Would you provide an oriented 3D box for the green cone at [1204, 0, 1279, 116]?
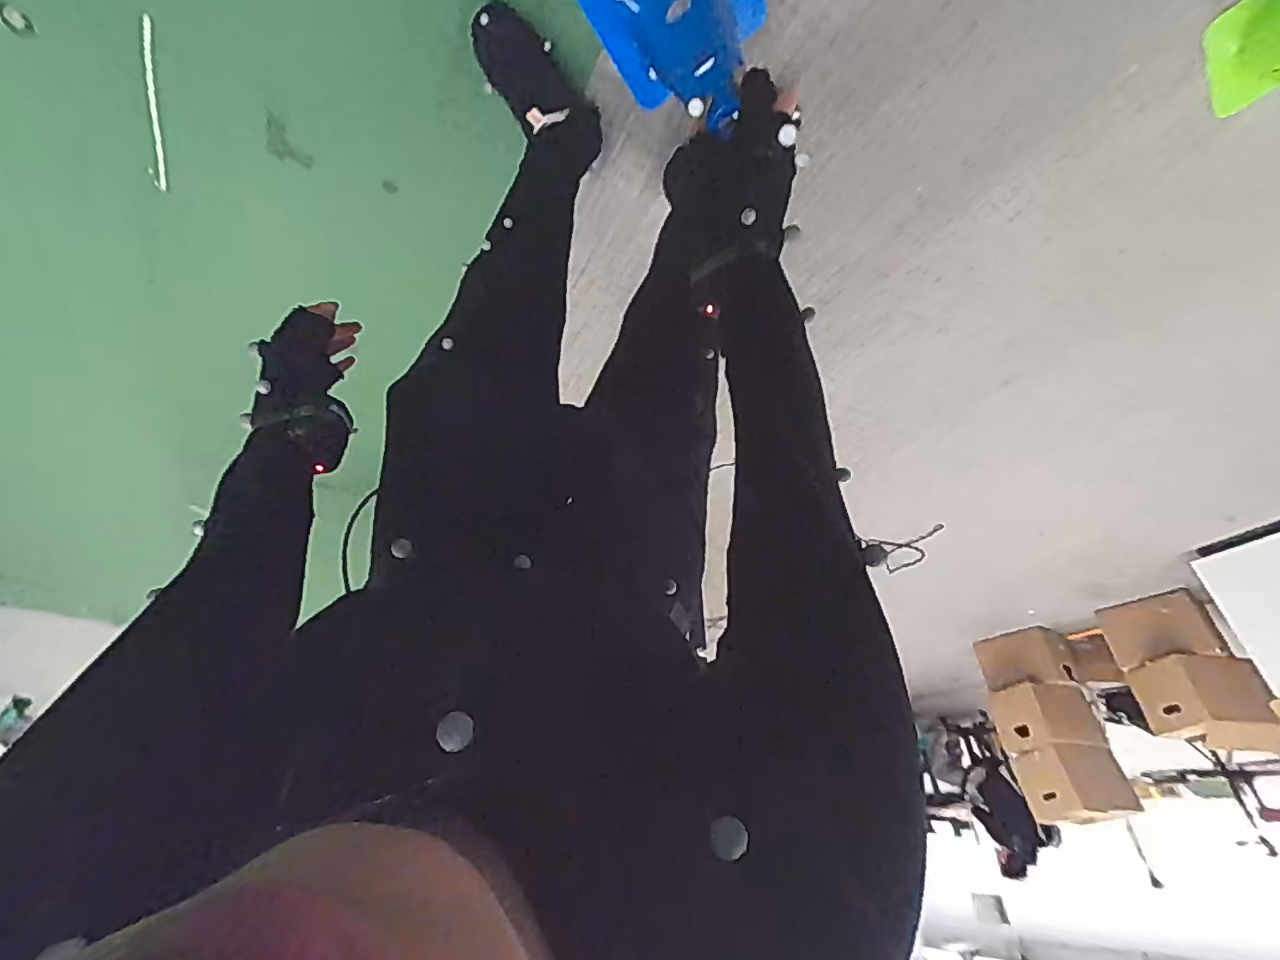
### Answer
[{"bbox_3d":[1.040,-0.588,0.765,0.202,0.368,0.200,28,136,-34],"label":"green cone"}]
